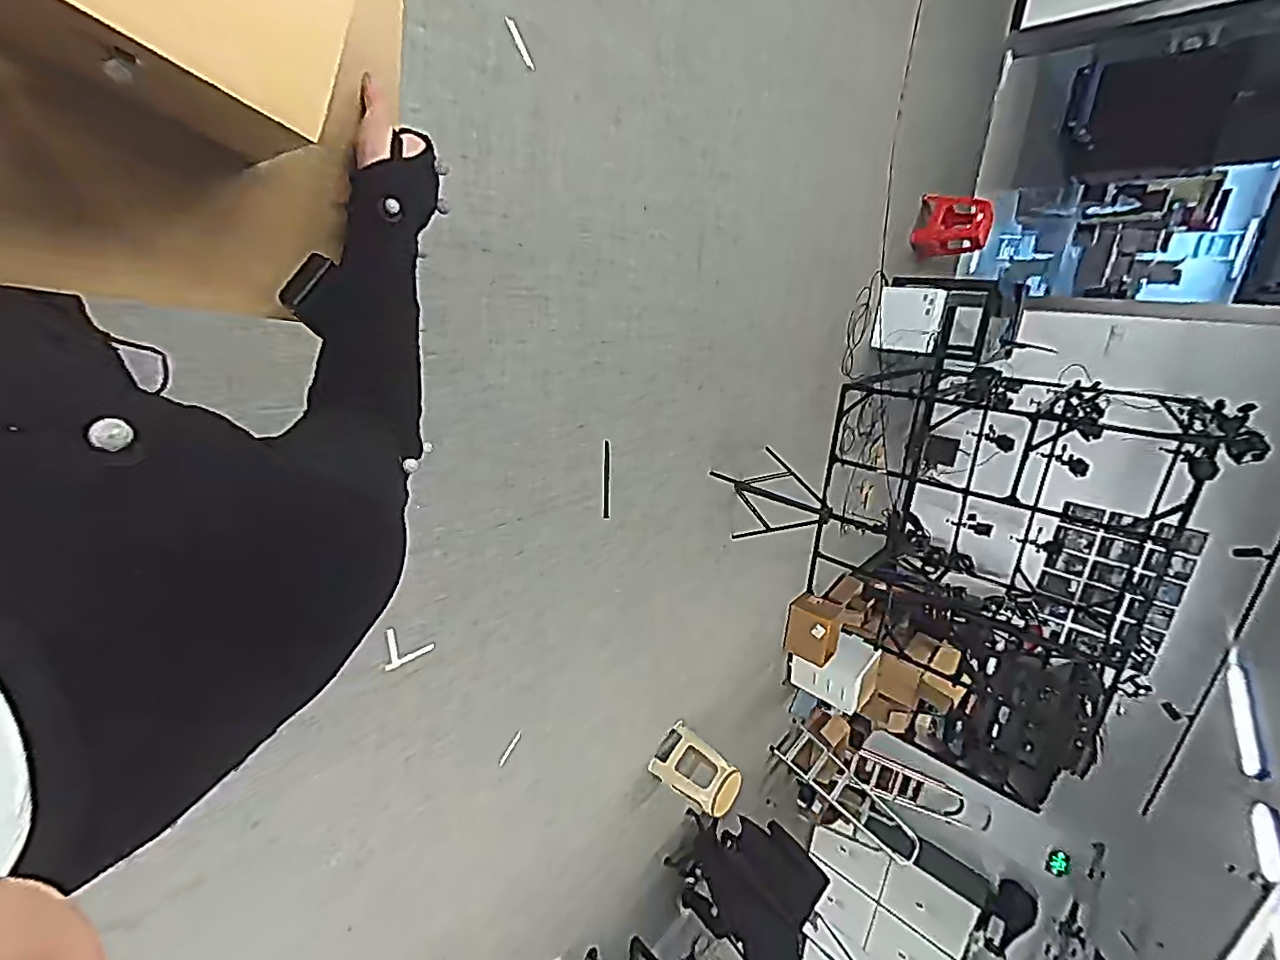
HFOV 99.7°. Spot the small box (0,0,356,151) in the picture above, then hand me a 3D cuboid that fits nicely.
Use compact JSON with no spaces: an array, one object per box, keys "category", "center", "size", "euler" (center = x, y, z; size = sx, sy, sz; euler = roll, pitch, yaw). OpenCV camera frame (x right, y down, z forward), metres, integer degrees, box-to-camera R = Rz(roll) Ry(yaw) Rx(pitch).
[{"category":"small box","center":[-0.310,-0.346,0.355],"size":[0.179,0.176,0.168],"euler":[13,98,-48]}]
